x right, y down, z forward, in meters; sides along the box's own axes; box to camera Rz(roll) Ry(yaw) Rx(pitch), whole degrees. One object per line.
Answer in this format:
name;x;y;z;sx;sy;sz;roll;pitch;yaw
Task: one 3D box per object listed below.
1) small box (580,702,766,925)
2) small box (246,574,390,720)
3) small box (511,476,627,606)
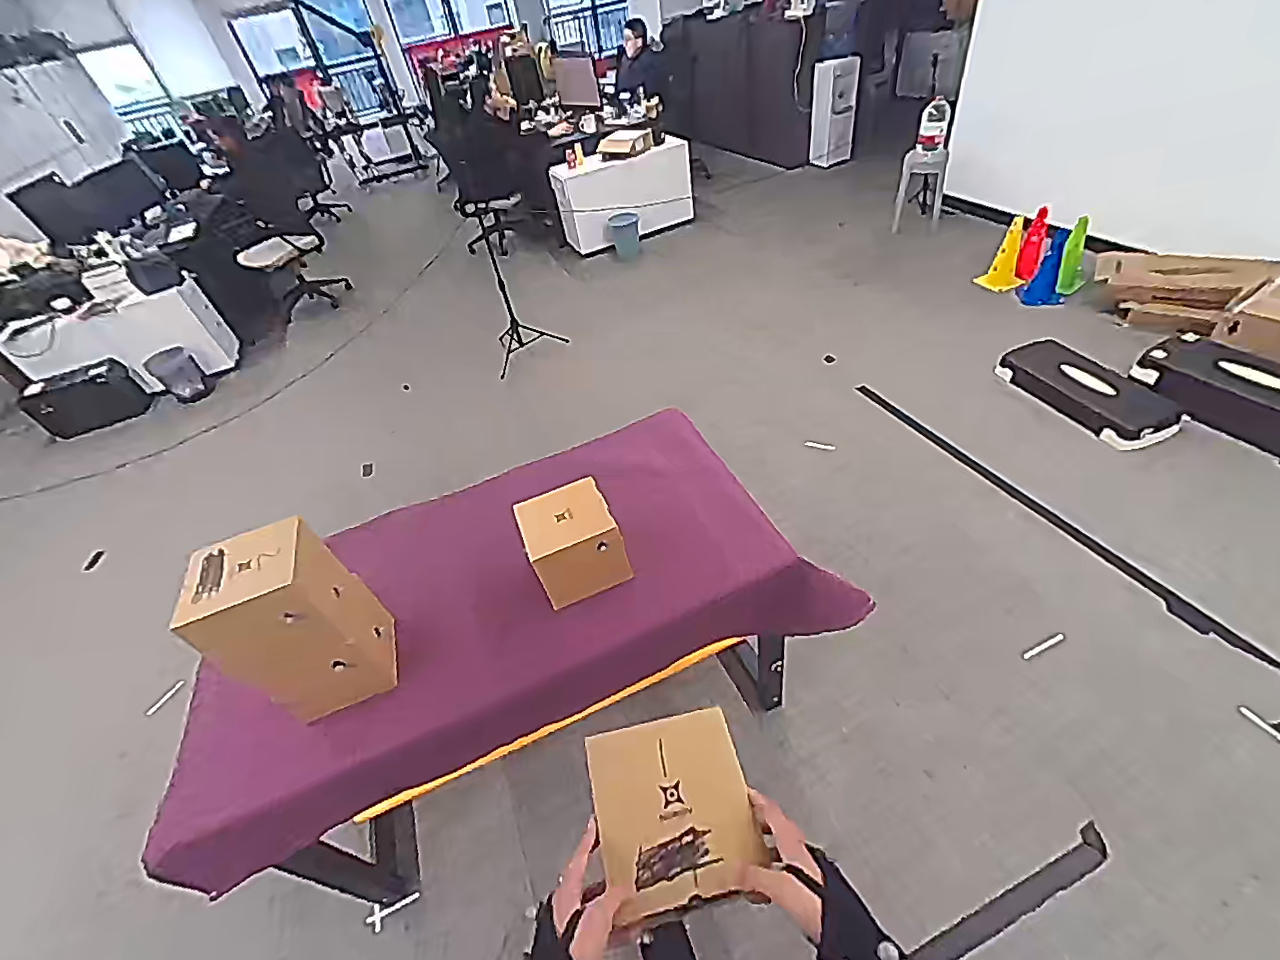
small box;0.030;0.391;0.631;0.168;0.176;0.179;-10;48;-8
small box;-0.584;0.312;1.011;0.179;0.176;0.168;-21;44;-10
small box;-0.143;0.128;1.108;0.179;0.176;0.168;-21;44;-10
